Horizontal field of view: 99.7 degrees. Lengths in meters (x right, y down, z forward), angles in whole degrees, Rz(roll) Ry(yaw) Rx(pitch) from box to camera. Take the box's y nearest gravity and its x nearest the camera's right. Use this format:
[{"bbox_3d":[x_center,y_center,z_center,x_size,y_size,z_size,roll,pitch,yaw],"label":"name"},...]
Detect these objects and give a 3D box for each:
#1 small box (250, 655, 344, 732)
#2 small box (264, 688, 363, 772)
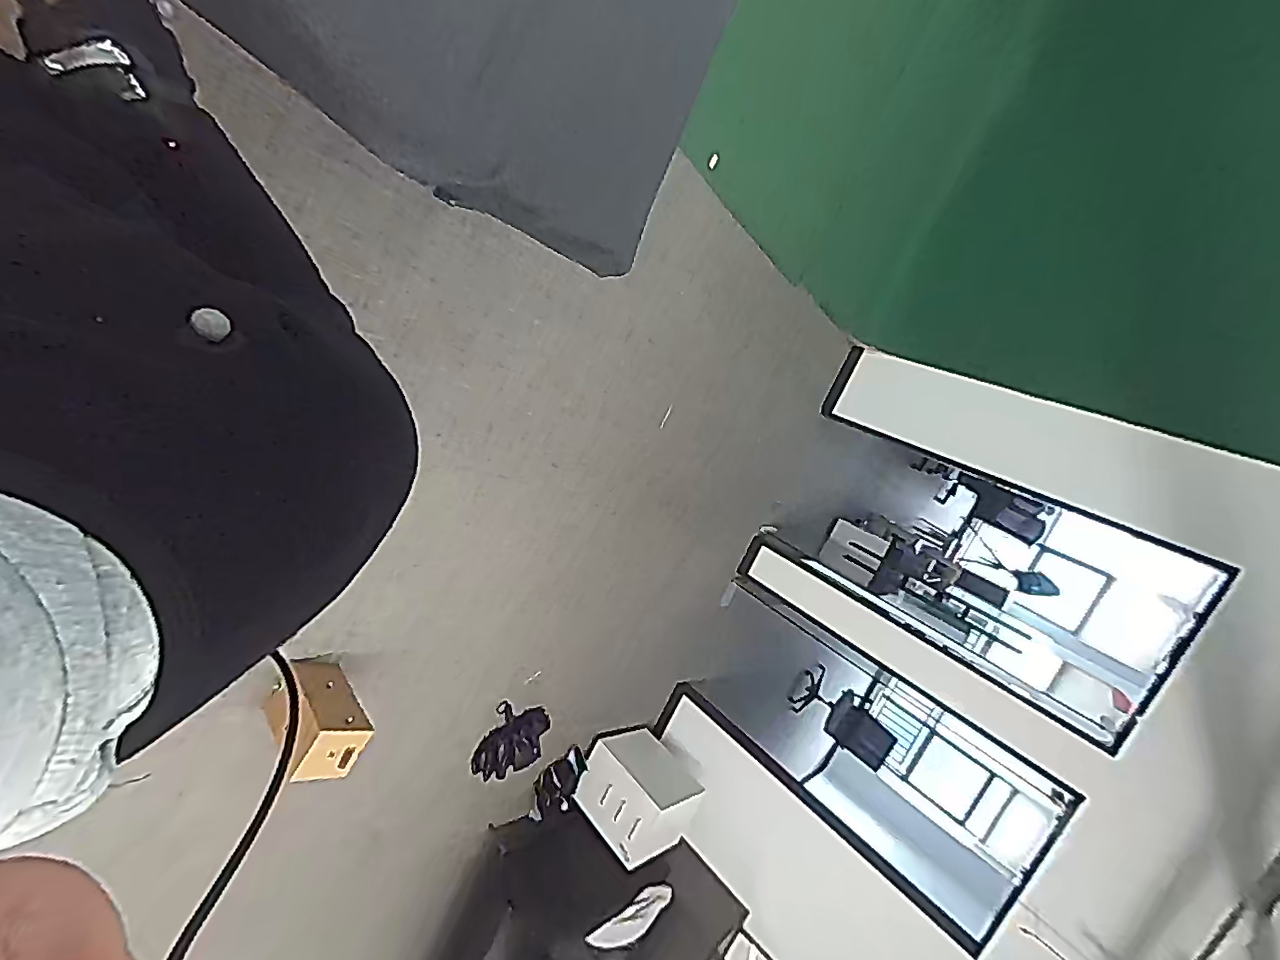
[{"bbox_3d":[-1.110,0.686,1.746,0.168,0.176,0.179,-59,143,-2],"label":"small box"},{"bbox_3d":[-0.996,0.756,1.649,0.168,0.176,0.179,-58,143,-3],"label":"small box"}]
